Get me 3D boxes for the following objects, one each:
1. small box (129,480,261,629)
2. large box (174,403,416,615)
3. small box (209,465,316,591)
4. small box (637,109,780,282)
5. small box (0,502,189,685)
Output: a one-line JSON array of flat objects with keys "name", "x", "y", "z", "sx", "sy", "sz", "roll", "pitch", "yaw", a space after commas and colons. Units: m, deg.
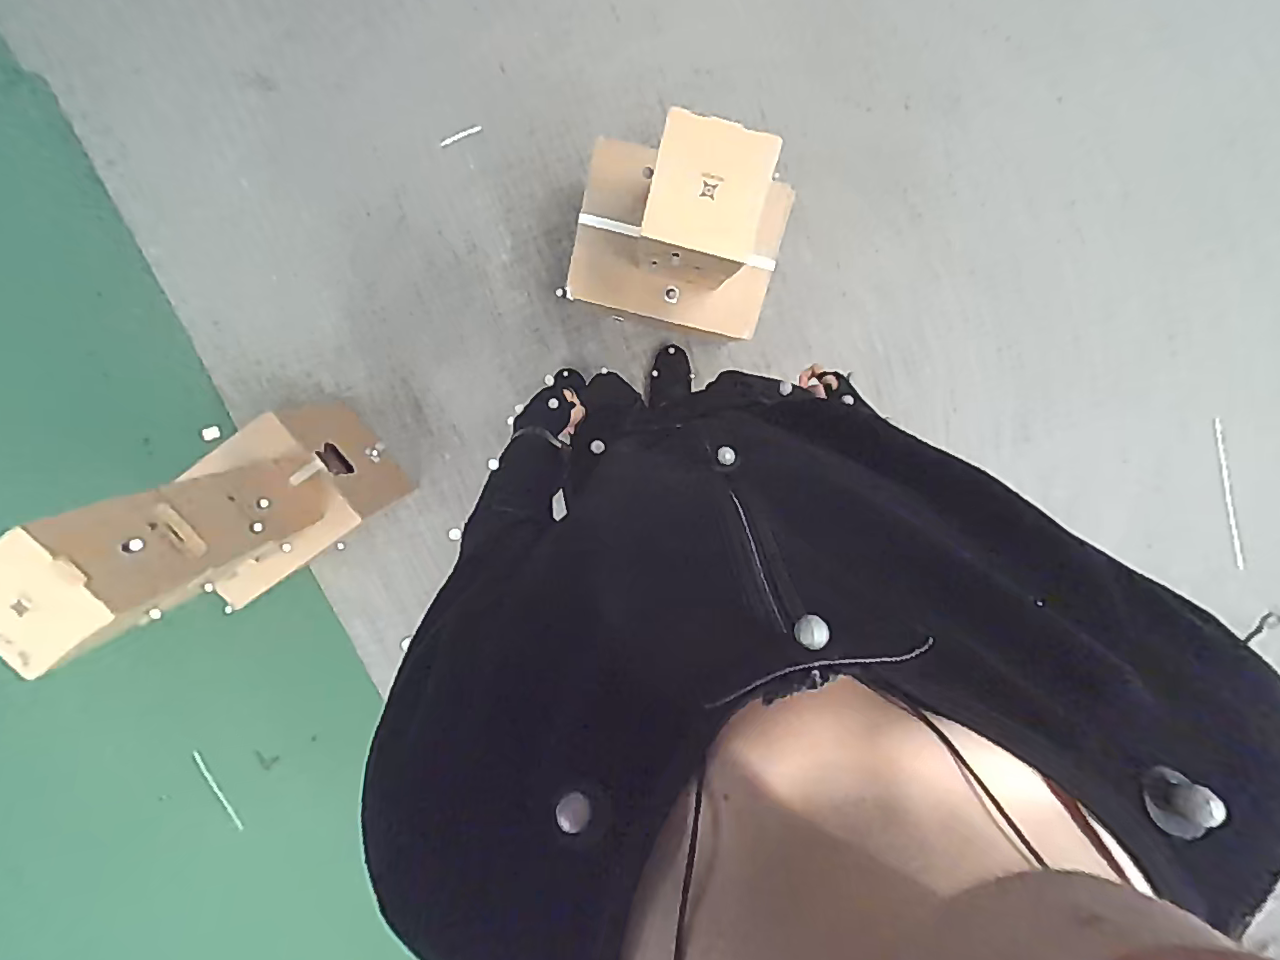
[{"name": "small box", "x": -0.822, "y": 0.121, "z": 0.956, "sx": 0.179, "sy": 0.176, "sz": 0.168, "roll": -35, "pitch": 100, "yaw": 7}, {"name": "large box", "x": -0.865, "y": 0.053, "z": 1.359, "sx": 0.408, "sy": 0.320, "sz": 0.320, "roll": -34, "pitch": 99, "yaw": 8}, {"name": "small box", "x": -0.824, "y": 0.091, "z": 1.117, "sx": 0.168, "sy": 0.176, "sz": 0.179, "roll": -33, "pitch": 100, "yaw": 6}, {"name": "small box", "x": 0.097, "y": -0.424, "z": 0.839, "sx": 0.168, "sy": 0.176, "sz": 0.179, "roll": 14, "pitch": 100, "yaw": -3}, {"name": "small box", "x": -0.826, "y": 0.154, "z": 0.795, "sx": 0.179, "sy": 0.176, "sz": 0.168, "roll": -34, "pitch": 100, "yaw": 5}]
